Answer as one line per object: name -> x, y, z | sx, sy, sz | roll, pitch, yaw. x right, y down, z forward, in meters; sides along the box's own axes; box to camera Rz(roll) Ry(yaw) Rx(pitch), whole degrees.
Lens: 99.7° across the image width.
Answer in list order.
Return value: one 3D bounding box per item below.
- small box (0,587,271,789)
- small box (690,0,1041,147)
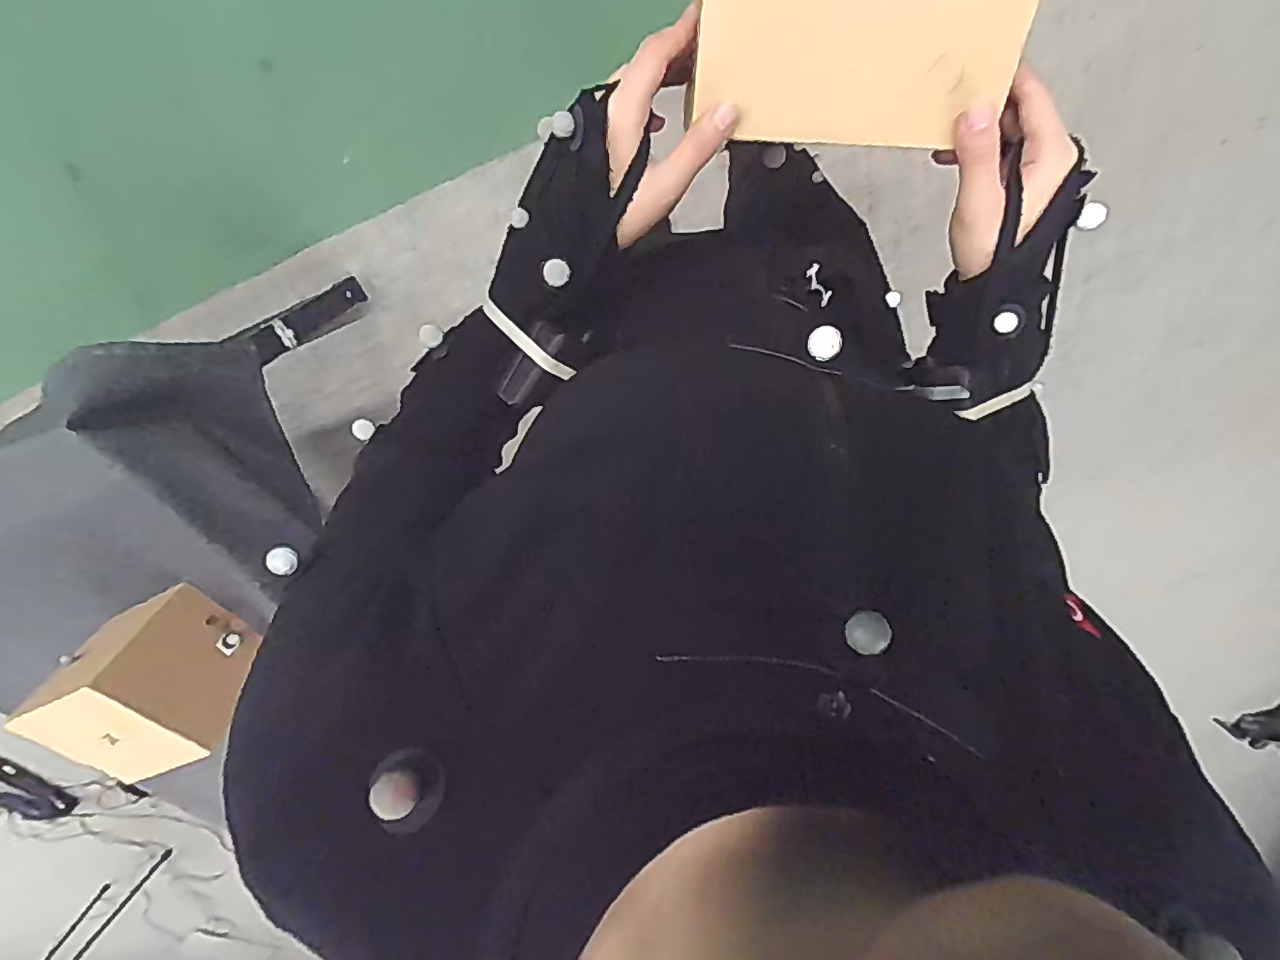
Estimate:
small box -> -0.653, 0.275, 0.725 | 0.179, 0.176, 0.168 | -25, 122, 15
small box -> 0.119, -0.304, 0.316 | 0.168, 0.176, 0.179 | 3, 122, 1
